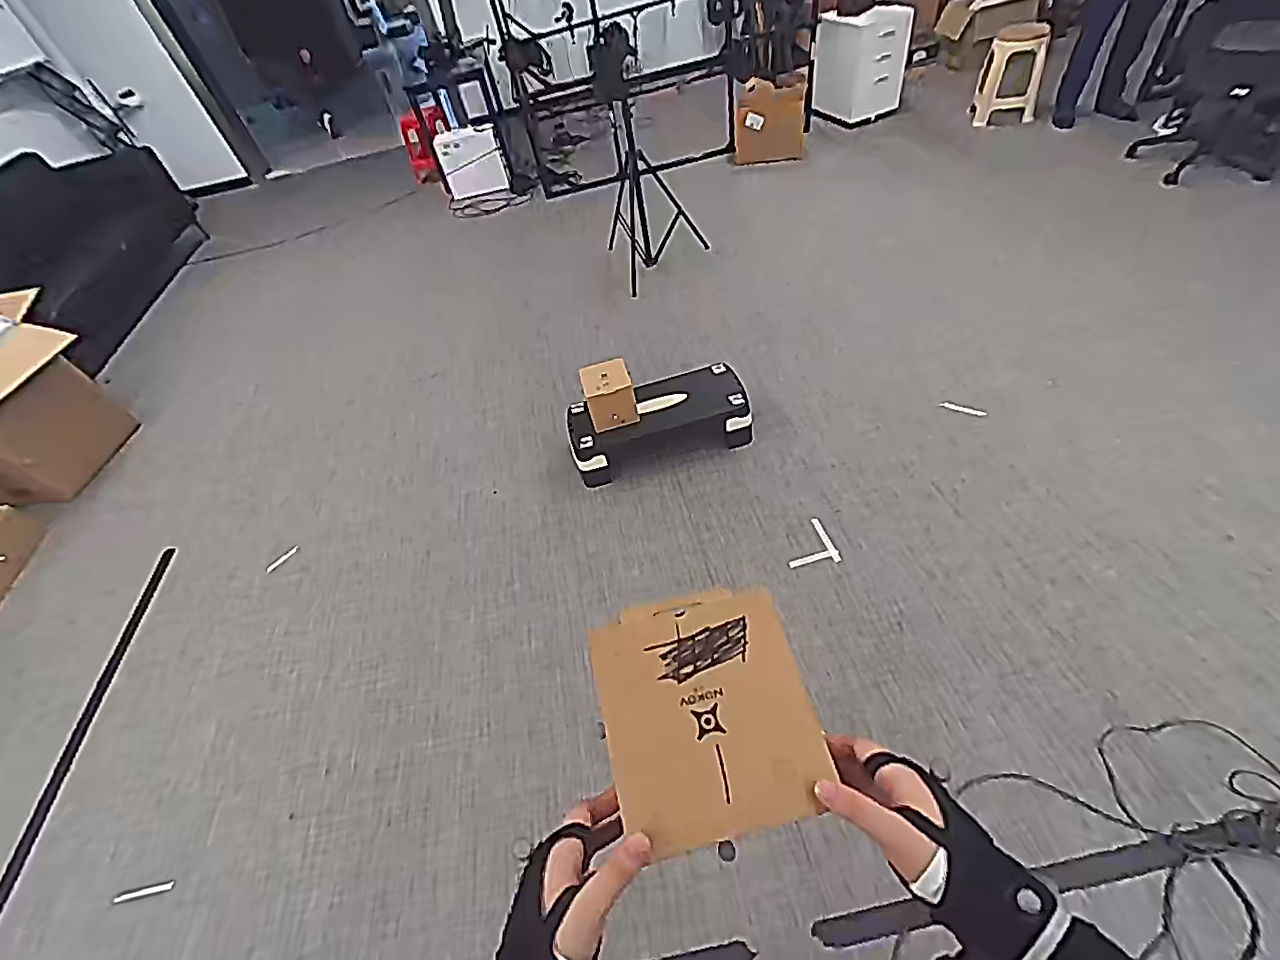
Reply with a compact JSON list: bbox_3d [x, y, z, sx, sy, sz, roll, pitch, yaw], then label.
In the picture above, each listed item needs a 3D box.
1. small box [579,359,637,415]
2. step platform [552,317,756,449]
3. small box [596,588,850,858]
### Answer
[{"bbox_3d":[-0.114,-0.303,1.943,0.168,0.176,0.179,-16,48,-2],"label":"small box"},{"bbox_3d":[0.048,-0.336,1.889,0.684,0.204,0.286,-16,47,-2],"label":"step platform"},{"bbox_3d":[0.061,0.226,0.499,0.168,0.176,0.179,-13,57,-4],"label":"small box"}]
